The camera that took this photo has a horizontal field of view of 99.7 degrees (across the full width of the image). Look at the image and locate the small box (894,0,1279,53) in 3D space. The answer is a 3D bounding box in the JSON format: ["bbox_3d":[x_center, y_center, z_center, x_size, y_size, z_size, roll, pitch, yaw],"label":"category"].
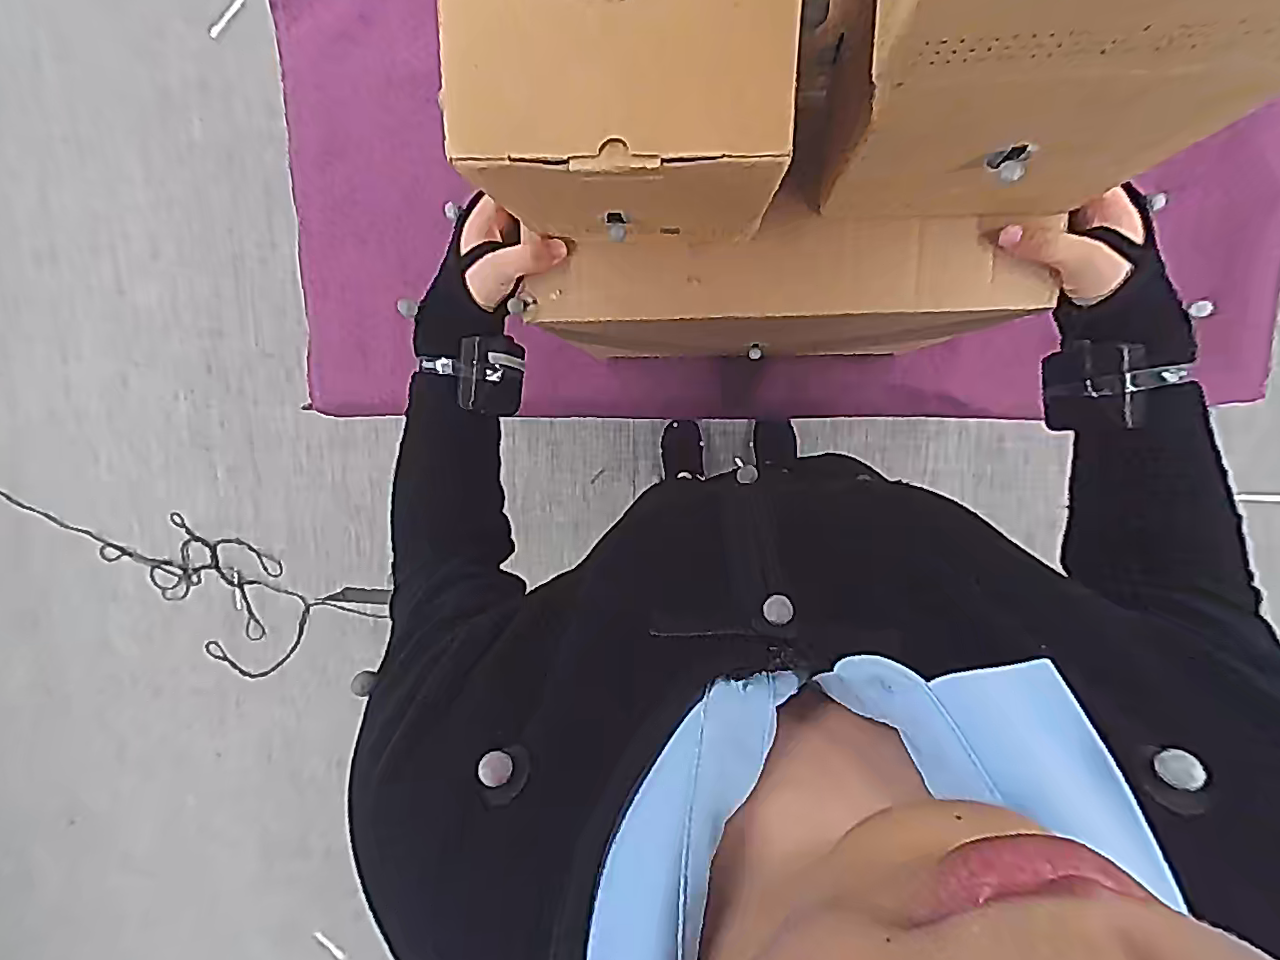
[{"bbox_3d":[0.179,-0.241,0.128,0.179,0.176,0.168,2,98,7],"label":"small box"}]
